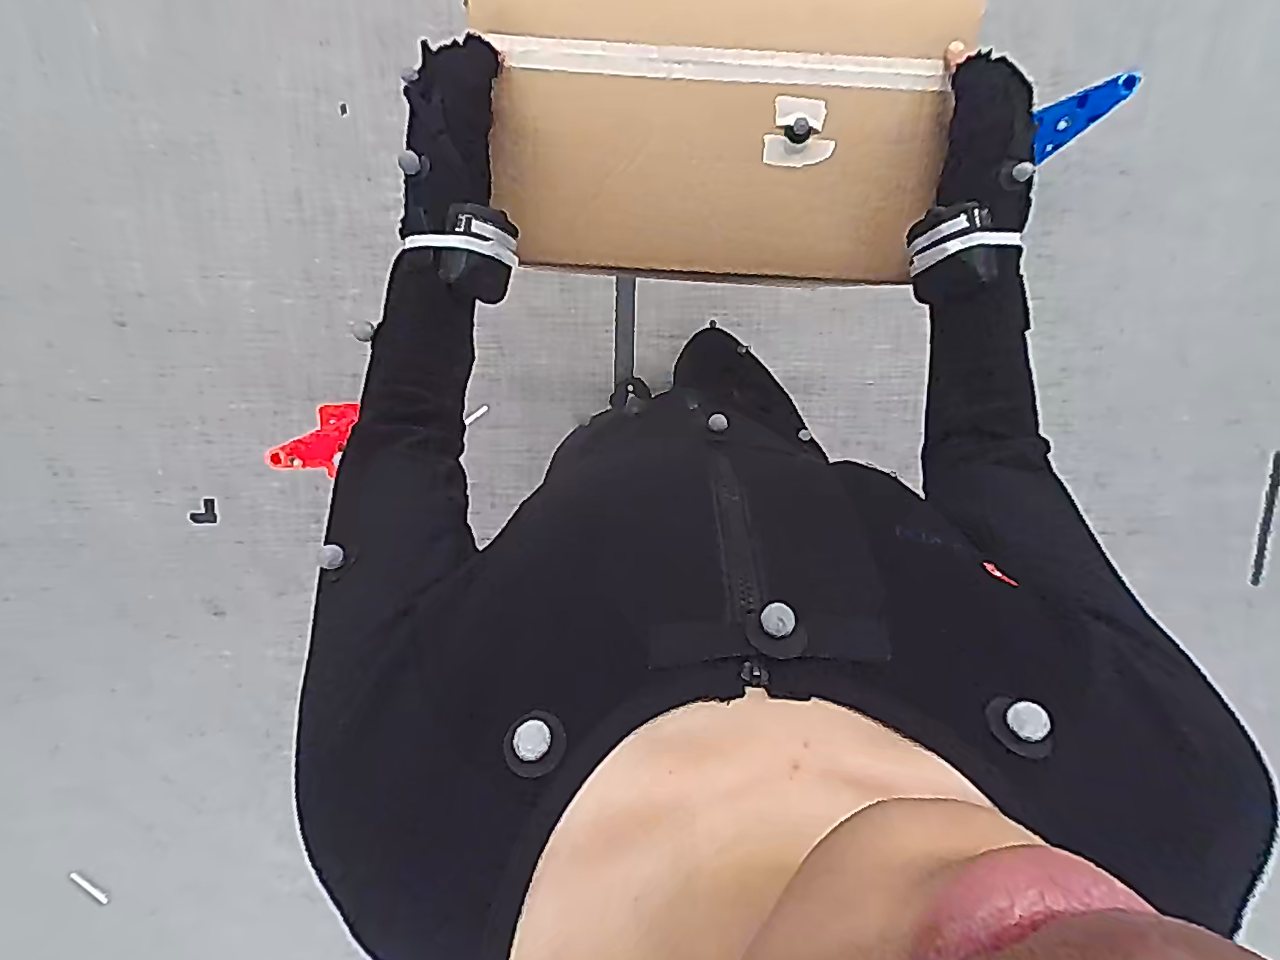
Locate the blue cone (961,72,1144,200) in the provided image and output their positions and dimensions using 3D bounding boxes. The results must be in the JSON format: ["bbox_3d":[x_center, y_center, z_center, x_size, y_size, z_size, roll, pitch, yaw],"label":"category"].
[{"bbox_3d":[0.908,-0.777,1.191,0.192,0.380,0.193,3,100,-3],"label":"blue cone"}]

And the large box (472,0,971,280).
[{"bbox_3d":[0.060,-0.391,0.583,0.408,0.320,0.320,2,109,-2],"label":"large box"}]

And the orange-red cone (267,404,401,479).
[{"bbox_3d":[-0.733,-0.068,1.259,0.198,0.360,0.199,-2,101,0],"label":"orange-red cone"}]
